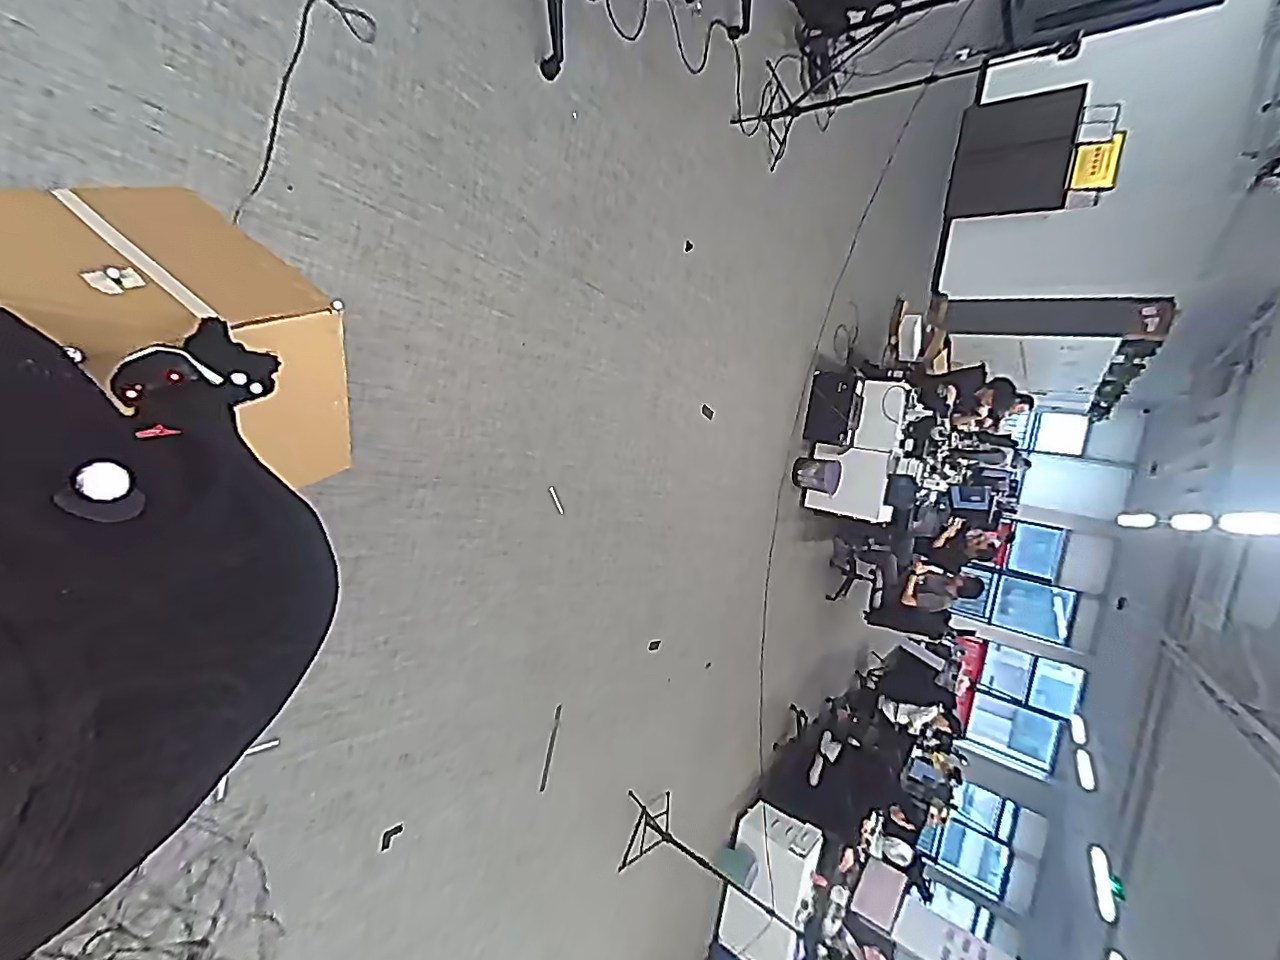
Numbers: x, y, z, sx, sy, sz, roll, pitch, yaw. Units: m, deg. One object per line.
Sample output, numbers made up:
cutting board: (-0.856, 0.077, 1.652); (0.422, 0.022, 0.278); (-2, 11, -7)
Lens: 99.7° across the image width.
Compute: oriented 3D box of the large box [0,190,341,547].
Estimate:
large box: (-0.714, -0.182, 0.803); (0.320, 0.408, 0.320); (-37, 159, -46)
